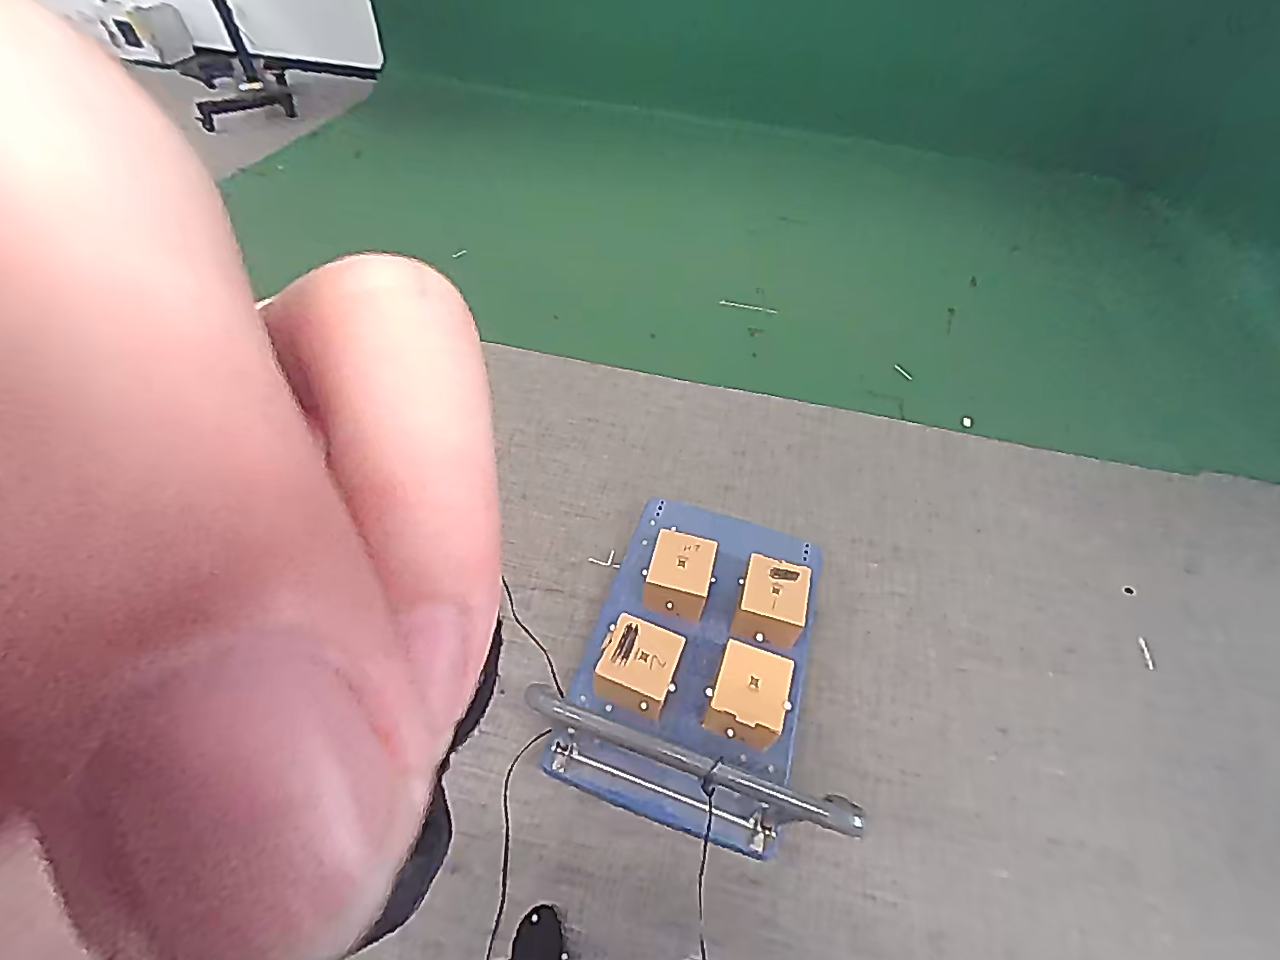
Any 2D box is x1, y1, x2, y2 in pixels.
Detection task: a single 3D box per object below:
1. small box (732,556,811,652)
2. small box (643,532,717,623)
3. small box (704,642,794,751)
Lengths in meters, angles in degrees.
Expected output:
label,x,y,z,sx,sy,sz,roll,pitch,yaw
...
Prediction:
label,x,y,z,sx,sy,sz,roll,pitch,yaw
small box,0.355,0.341,1.479,0.168,0.176,0.179,15,53,9
small box,0.108,0.277,1.516,0.168,0.176,0.179,14,52,7
small box,0.262,0.534,1.325,0.168,0.176,0.179,17,54,10
